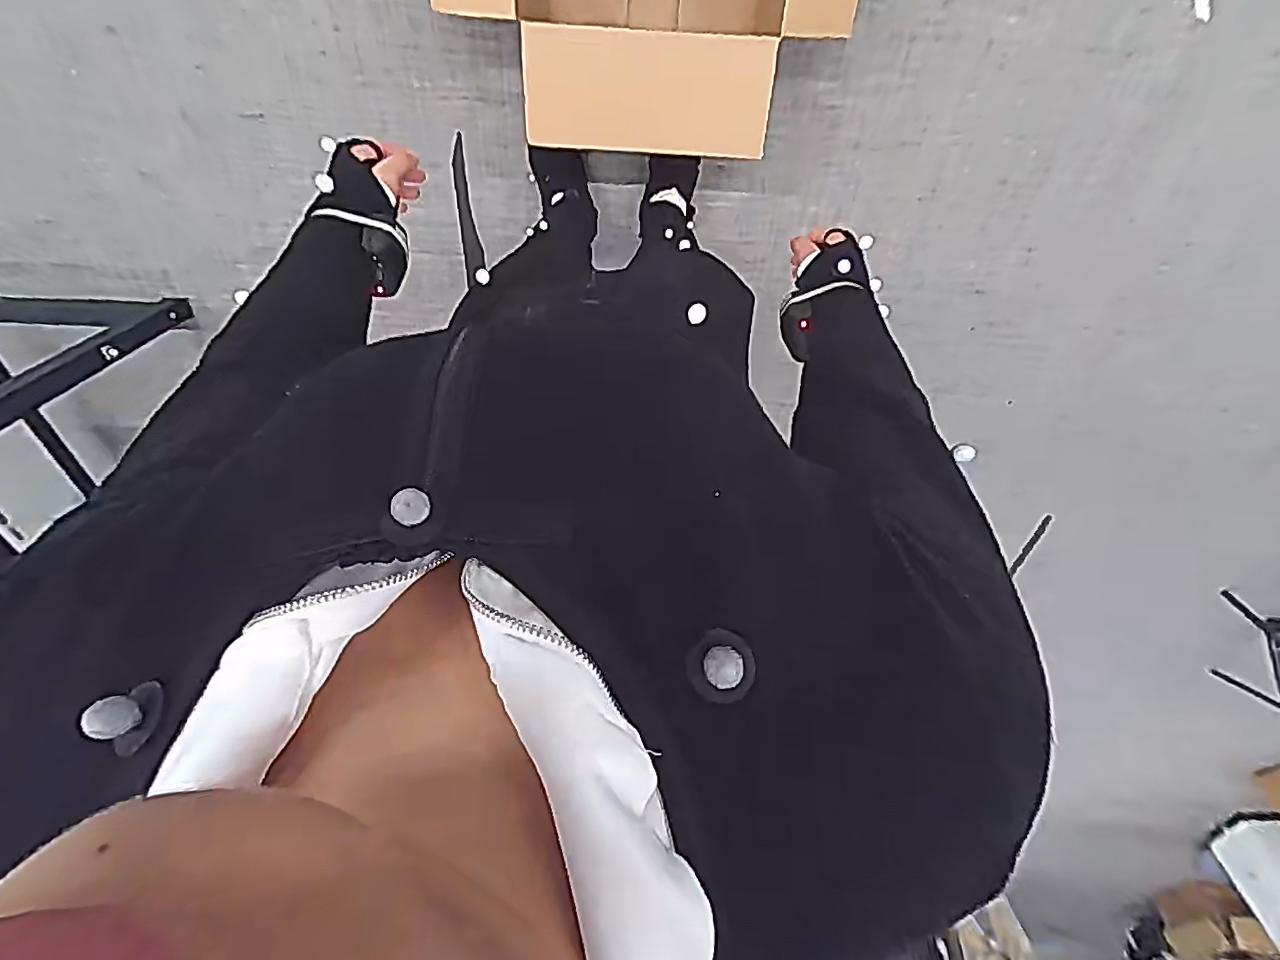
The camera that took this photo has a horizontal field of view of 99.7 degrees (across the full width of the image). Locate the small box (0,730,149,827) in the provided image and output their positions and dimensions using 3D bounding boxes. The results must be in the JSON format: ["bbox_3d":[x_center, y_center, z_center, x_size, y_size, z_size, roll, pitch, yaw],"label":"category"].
[{"bbox_3d":[-1.442,0.768,1.396,0.168,0.176,0.179,2,129,1],"label":"small box"}]
